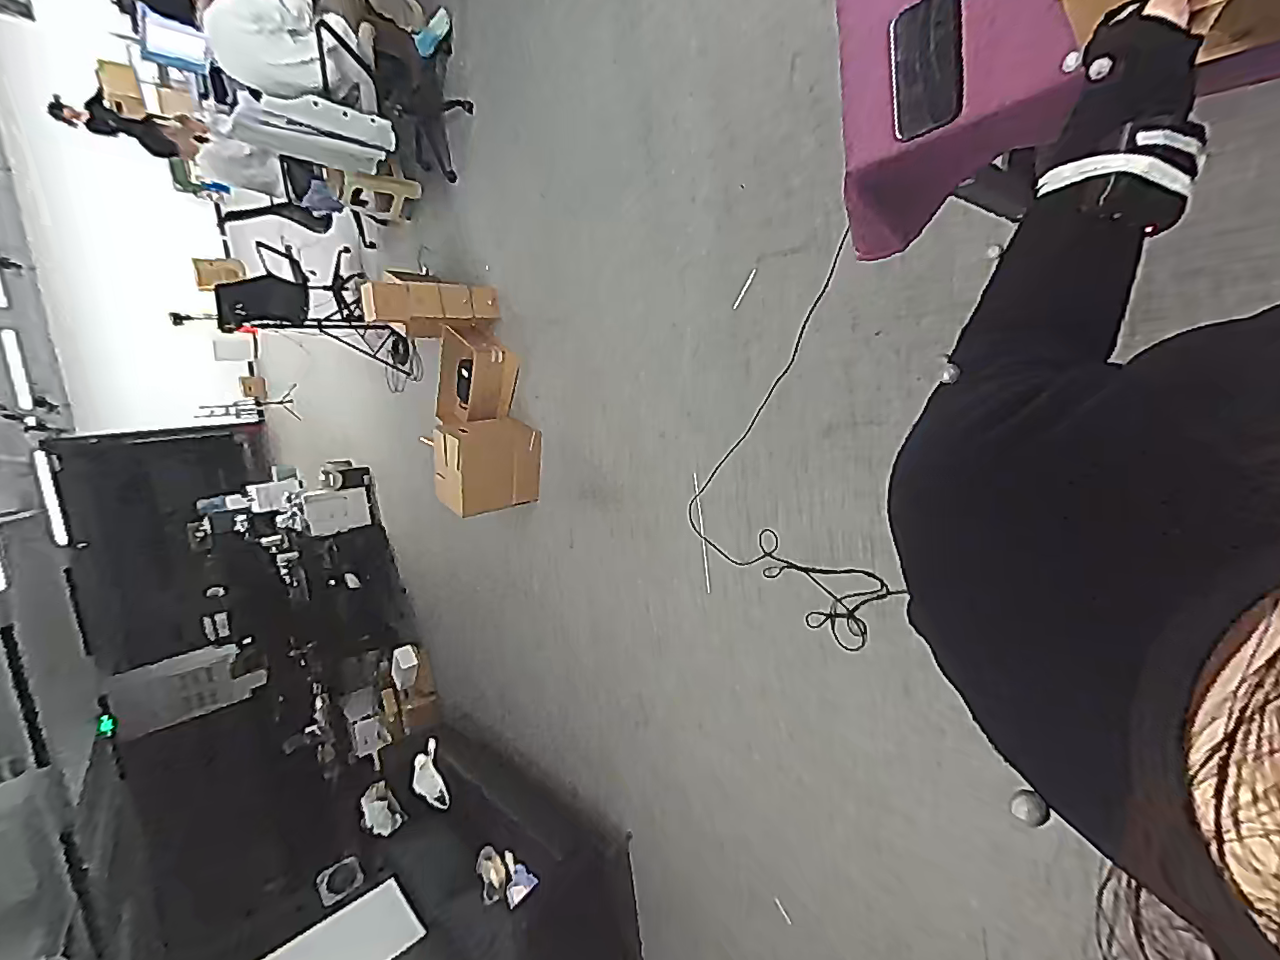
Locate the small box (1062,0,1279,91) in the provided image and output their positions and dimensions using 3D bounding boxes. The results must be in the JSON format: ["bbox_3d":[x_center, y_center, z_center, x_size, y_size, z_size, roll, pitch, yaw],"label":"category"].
[{"bbox_3d":[0.473,-0.476,0.445,0.168,0.176,0.179,10,98,47],"label":"small box"}]
